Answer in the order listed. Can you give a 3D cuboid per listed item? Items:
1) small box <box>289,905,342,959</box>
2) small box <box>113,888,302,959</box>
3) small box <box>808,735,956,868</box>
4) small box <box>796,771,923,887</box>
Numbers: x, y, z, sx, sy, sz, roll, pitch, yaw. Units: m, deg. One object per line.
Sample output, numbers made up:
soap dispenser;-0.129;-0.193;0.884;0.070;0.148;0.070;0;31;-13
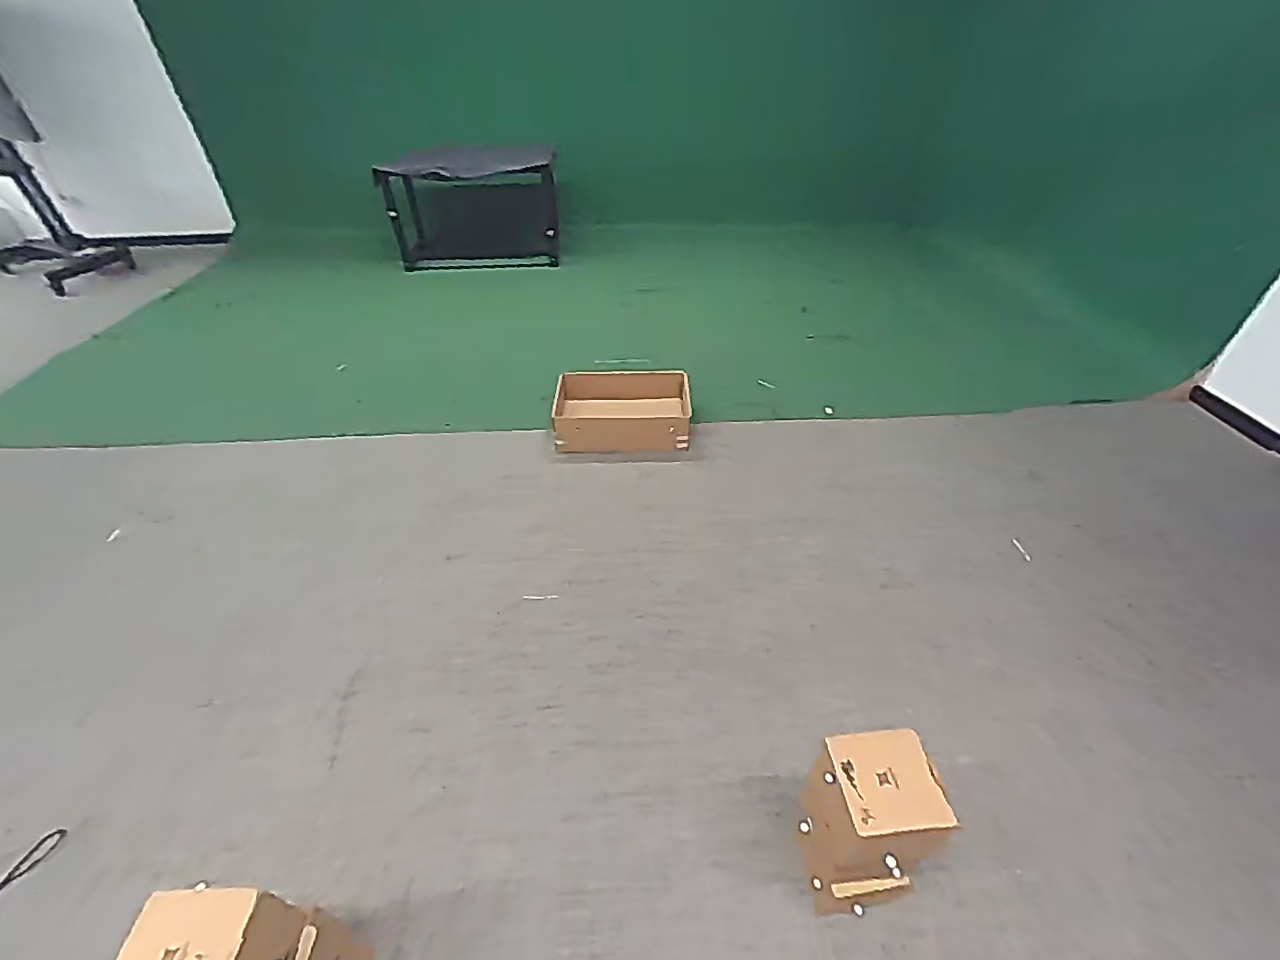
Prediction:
small box;-0.661;0.862;0.944;0.179;0.176;0.168;-2;40;1
small box;-0.669;0.746;0.826;0.179;0.176;0.168;-1;41;0
small box;0.433;0.595;1.002;0.179;0.176;0.168;-3;40;-3
small box;0.440;0.715;1.114;0.179;0.176;0.168;-4;40;-2
